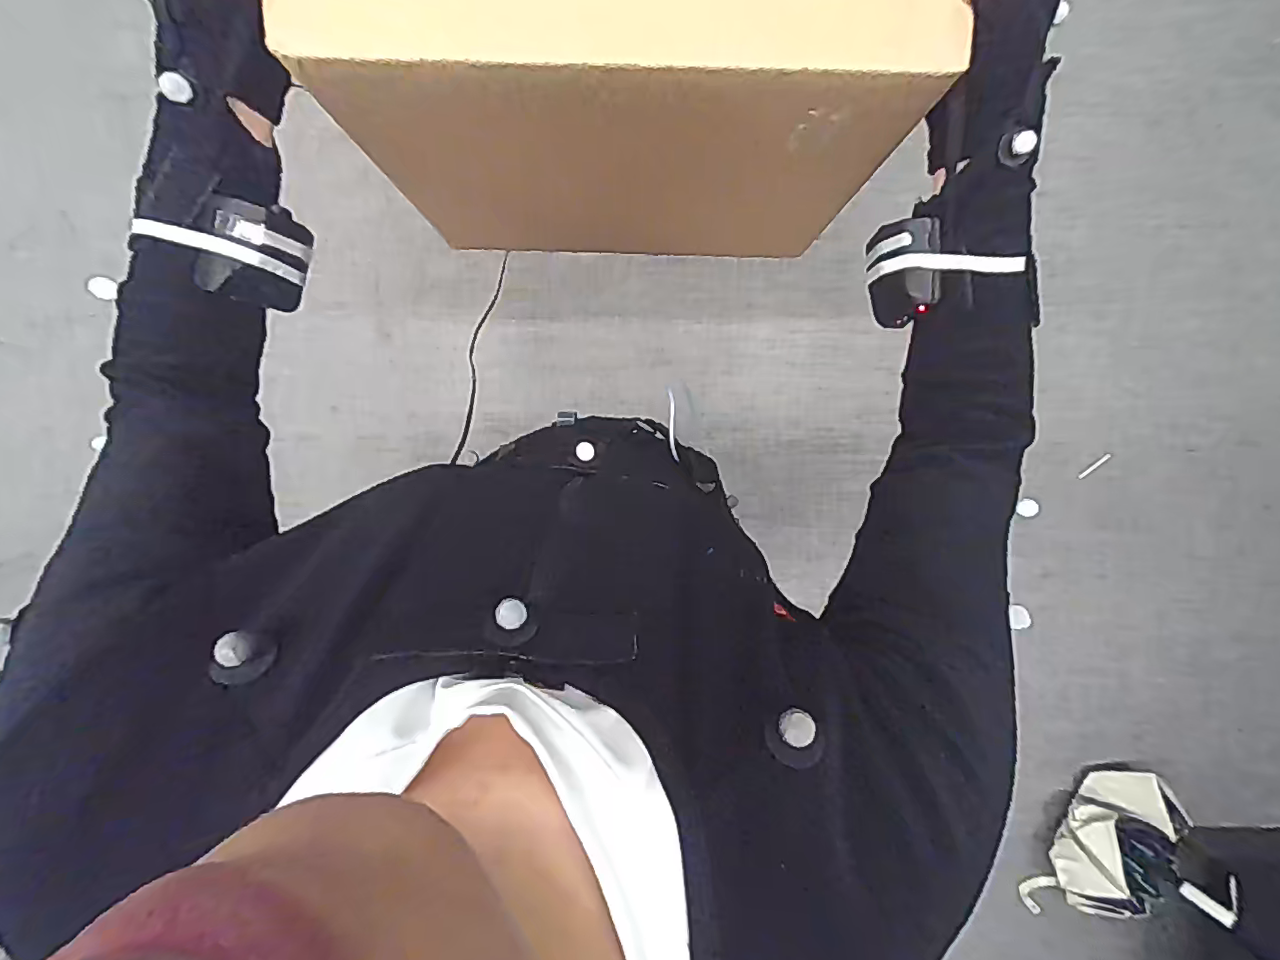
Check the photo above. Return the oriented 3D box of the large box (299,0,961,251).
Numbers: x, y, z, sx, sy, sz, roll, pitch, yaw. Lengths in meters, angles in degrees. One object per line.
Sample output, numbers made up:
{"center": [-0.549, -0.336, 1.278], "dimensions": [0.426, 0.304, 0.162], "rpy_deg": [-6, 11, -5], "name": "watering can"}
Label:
{"center": [-0.009, -0.407, 0.465], "dimensions": [0.408, 0.320, 0.320], "rpy_deg": [0, 94, -2], "name": "large box"}
